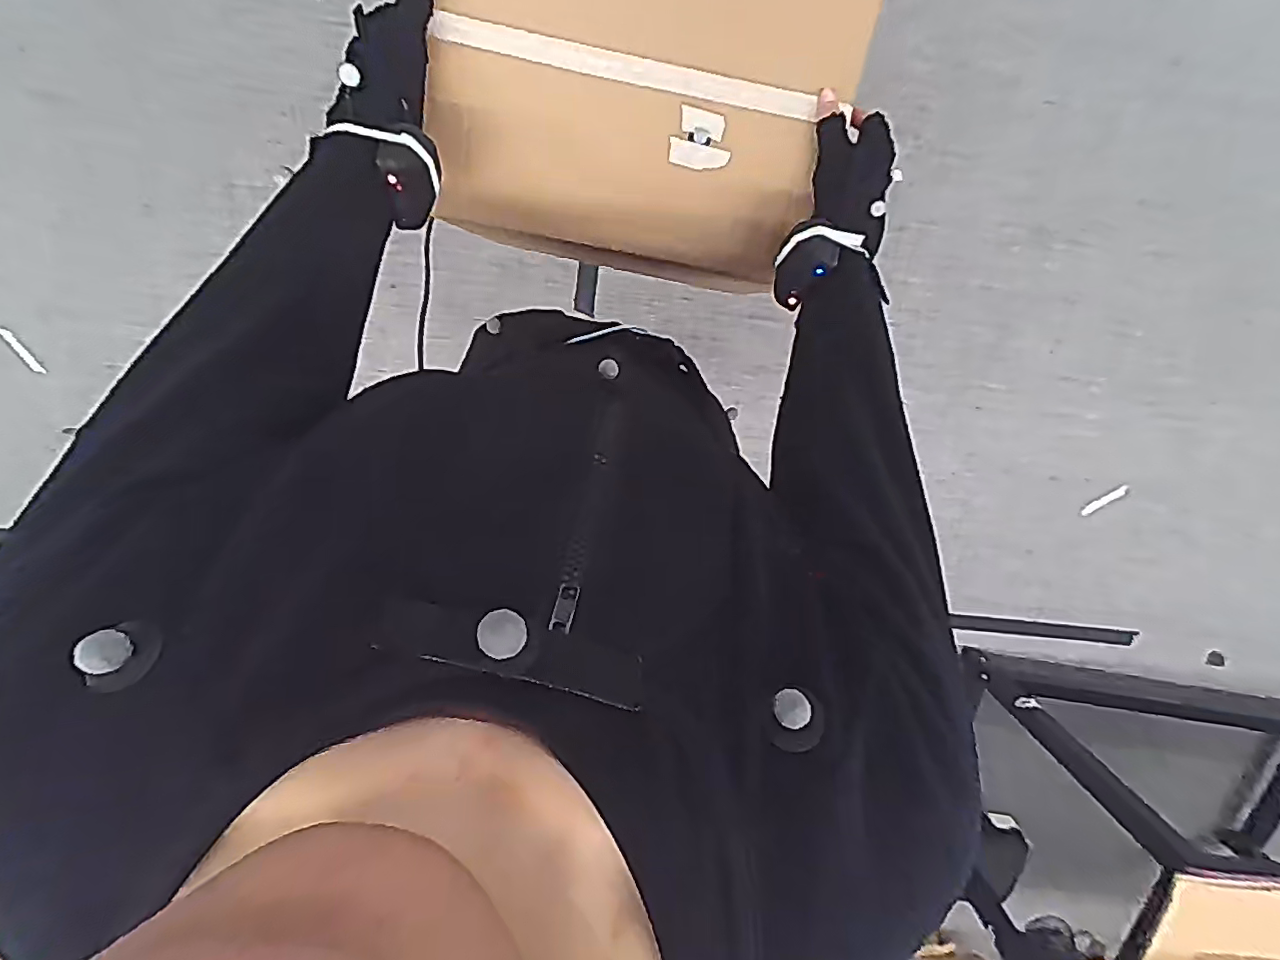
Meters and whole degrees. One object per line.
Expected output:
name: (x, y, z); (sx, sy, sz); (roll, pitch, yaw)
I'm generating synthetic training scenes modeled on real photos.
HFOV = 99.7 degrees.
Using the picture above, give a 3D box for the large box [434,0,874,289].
large box: (0.002, -0.433, 0.665); (0.408, 0.320, 0.320); (10, 109, -5)
